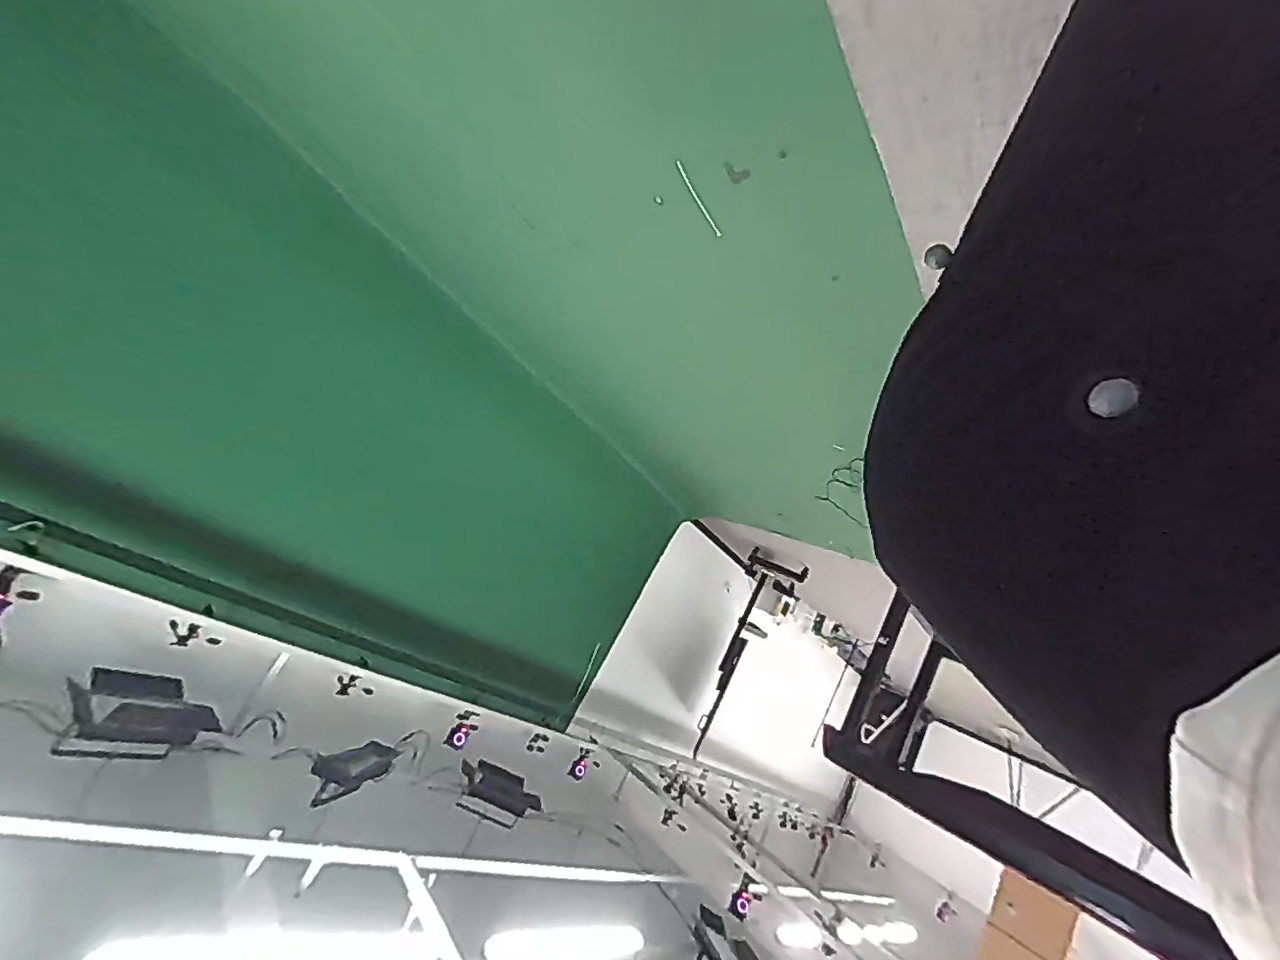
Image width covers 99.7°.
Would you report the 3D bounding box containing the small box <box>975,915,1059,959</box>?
[{"bbox_3d":[1.032,1.338,1.474,0.179,0.176,0.168,14,159,46],"label":"small box"}]
